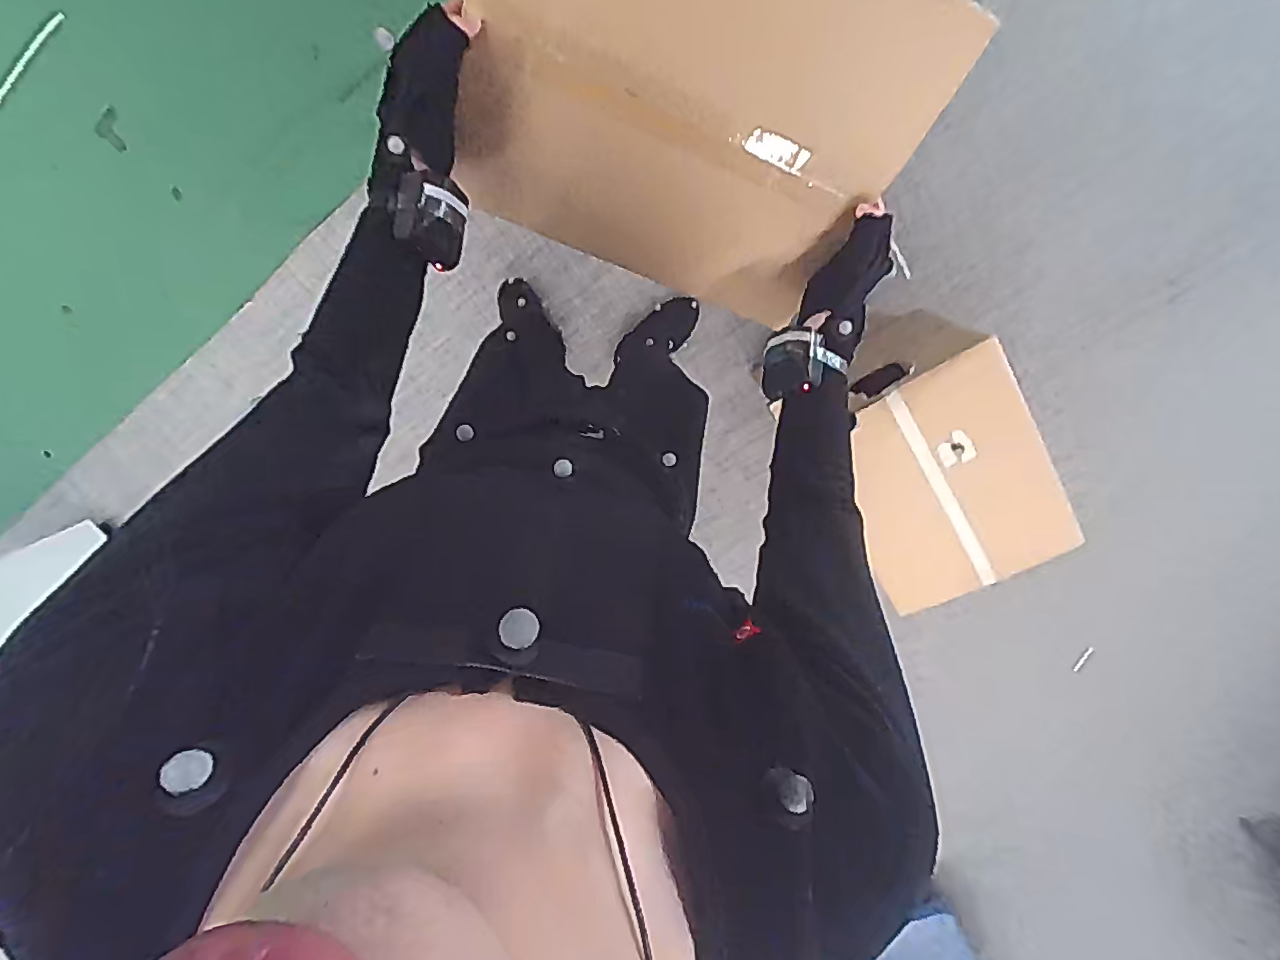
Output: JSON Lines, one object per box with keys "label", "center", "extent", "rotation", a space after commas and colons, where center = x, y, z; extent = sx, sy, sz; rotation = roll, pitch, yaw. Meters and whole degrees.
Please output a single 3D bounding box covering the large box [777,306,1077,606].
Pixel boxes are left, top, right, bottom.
{"label": "large box", "center": [0.497, -0.052, 1.006], "extent": [0.320, 0.320, 0.408], "rotation": [-30, 107, 19]}
